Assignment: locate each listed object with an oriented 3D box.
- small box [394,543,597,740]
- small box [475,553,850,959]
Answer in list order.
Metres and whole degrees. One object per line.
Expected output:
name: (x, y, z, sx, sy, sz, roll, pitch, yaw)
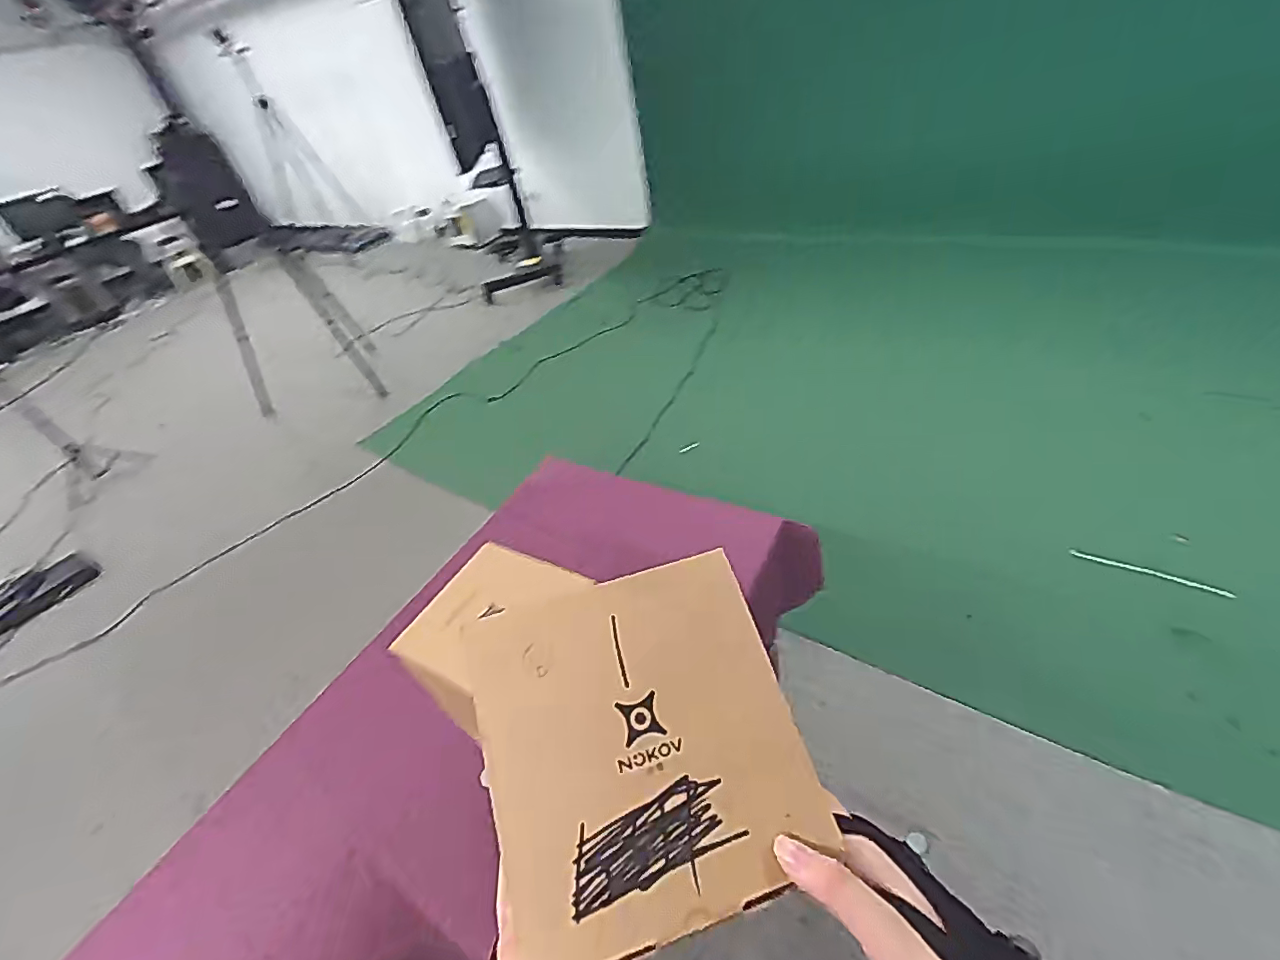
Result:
small box: (-0.144, 0.209, 0.649, 0.179, 0.176, 0.168, 14, 47, 29)
small box: (0.001, 0.173, 0.362, 0.168, 0.176, 0.179, -13, 65, -12)
